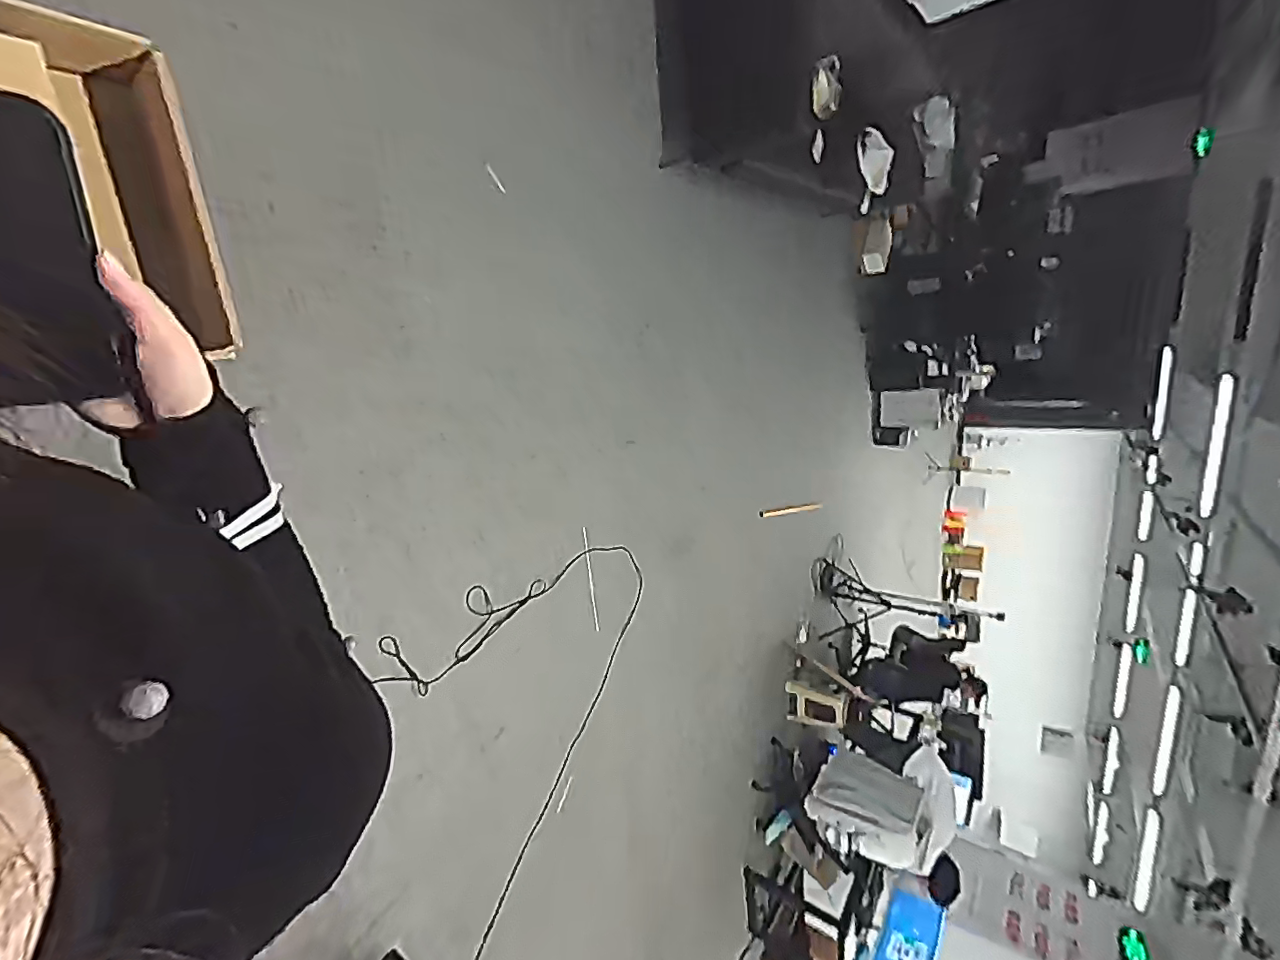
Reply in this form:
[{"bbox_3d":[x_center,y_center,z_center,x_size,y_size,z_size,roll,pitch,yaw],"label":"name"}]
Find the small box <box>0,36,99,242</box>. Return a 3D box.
[{"bbox_3d":[-0.753,-0.378,0.600,0.168,0.176,0.179,-22,113,-48],"label":"small box"}]
